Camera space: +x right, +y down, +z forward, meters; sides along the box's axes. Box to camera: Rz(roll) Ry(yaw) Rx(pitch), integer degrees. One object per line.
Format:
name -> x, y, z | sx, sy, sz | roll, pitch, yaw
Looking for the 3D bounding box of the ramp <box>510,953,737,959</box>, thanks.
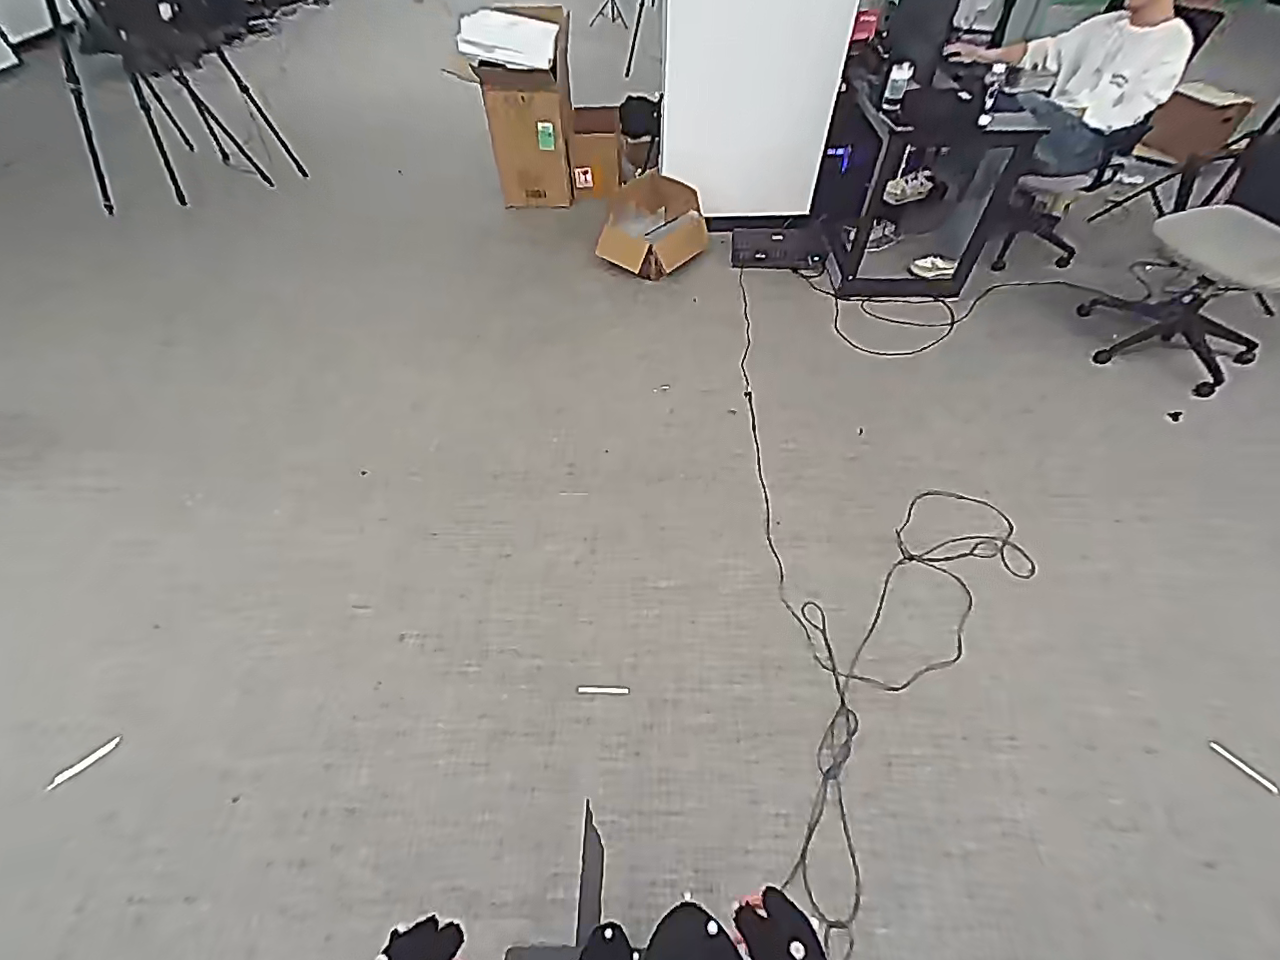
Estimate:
ramp -> -0.044, 1.318, 0.755 | 0.509, 0.206, 0.991 | -2, 51, 1
